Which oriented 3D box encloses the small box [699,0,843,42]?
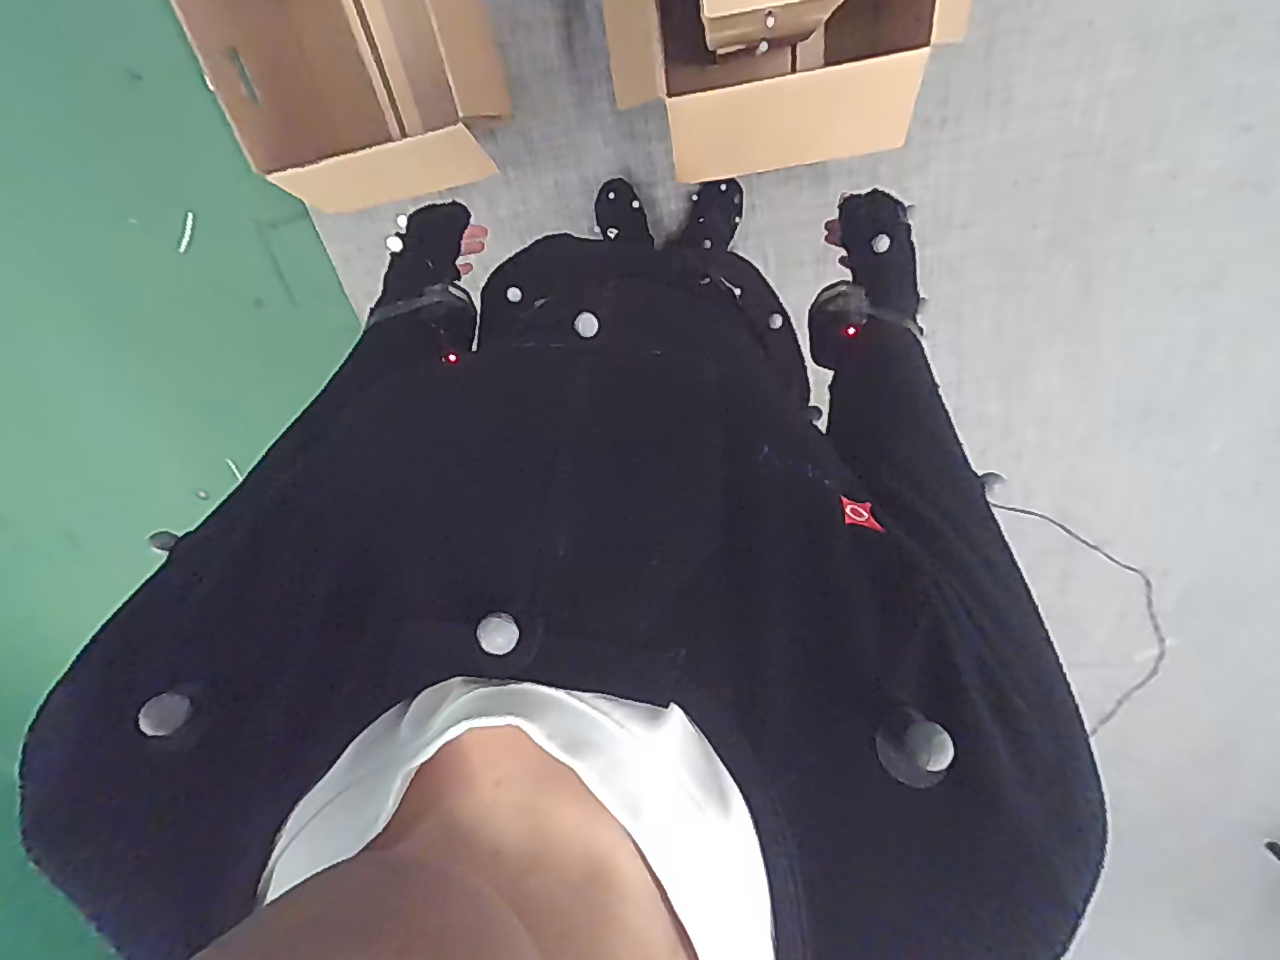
[{"bbox_3d":[0.160,-0.669,0.671,0.179,0.176,0.168,-4,124,10],"label":"small box"}]
